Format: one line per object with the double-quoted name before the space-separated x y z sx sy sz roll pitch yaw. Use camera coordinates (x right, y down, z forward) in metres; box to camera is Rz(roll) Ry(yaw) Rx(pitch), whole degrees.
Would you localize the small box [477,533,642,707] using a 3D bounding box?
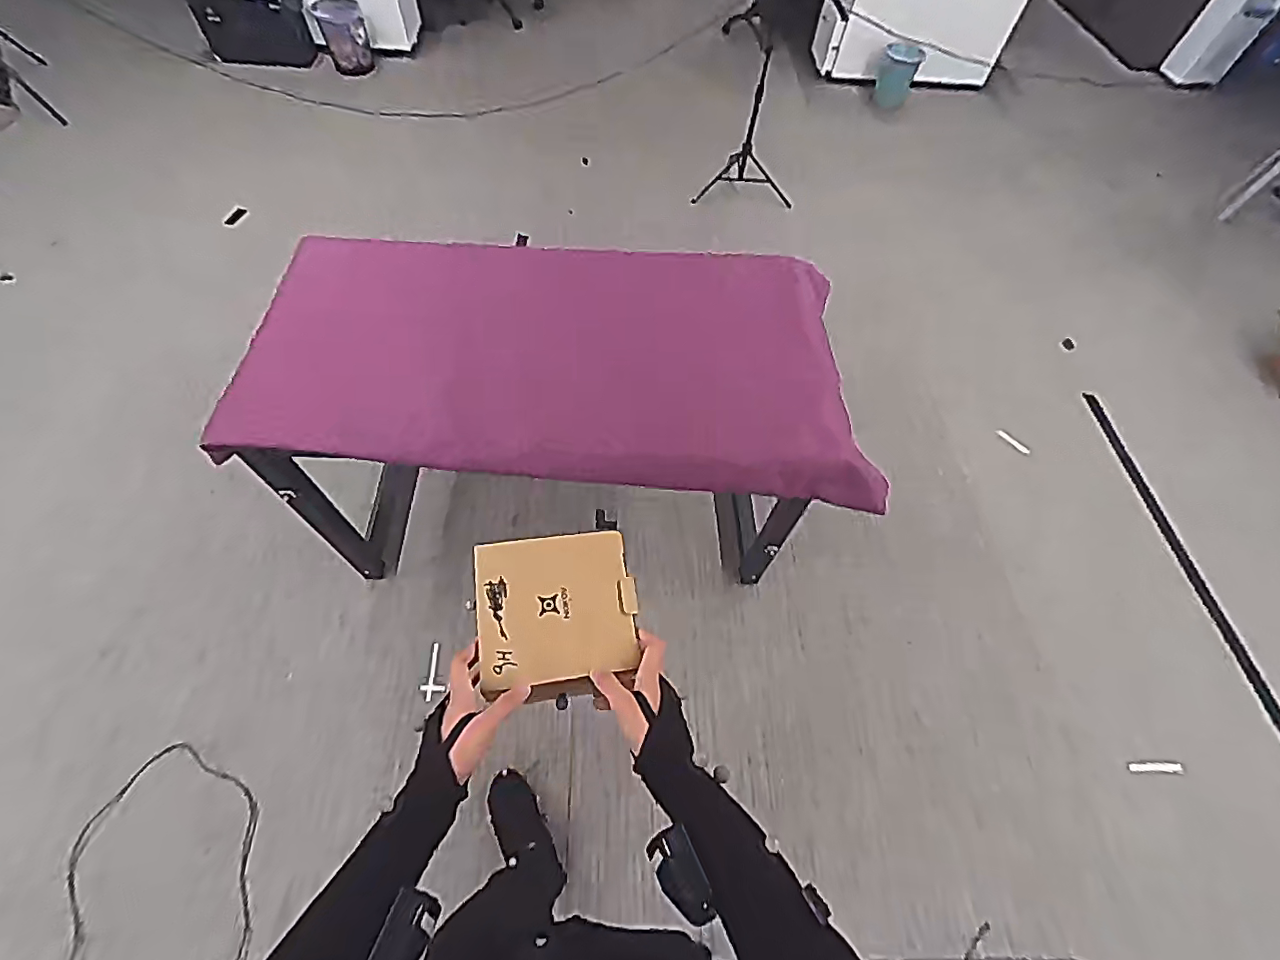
"small box" -0.107 0.178 0.677 0.179 0.176 0.168 -4 62 -12
